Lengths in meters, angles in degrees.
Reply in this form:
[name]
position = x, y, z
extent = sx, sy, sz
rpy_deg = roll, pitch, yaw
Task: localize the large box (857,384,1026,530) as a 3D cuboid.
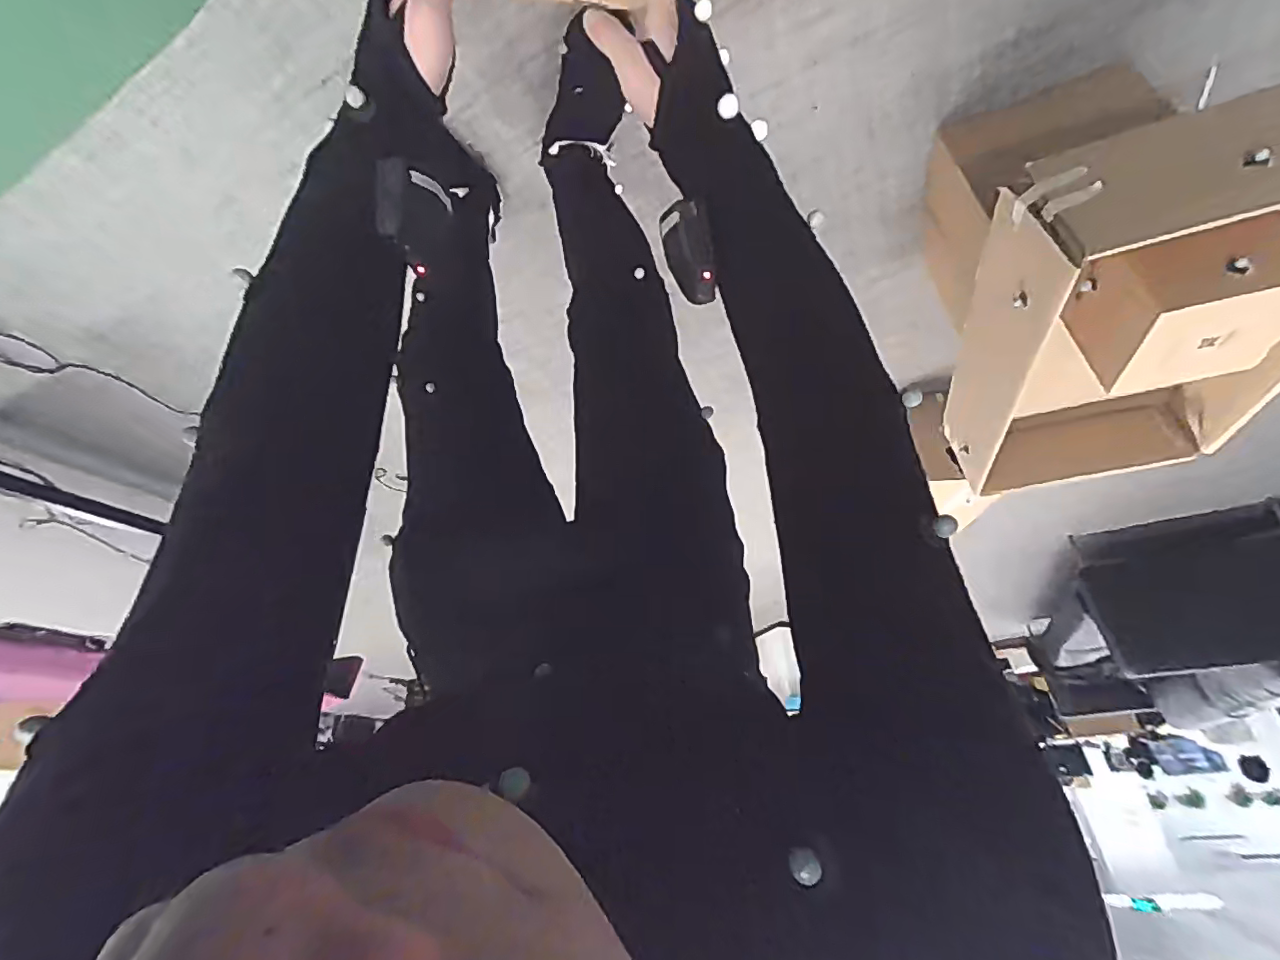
[large box]
position = 0.954, -0.064, 1.784
extent = 0.320, 0.320, 0.408
rpy_deg = -5, 149, 0
